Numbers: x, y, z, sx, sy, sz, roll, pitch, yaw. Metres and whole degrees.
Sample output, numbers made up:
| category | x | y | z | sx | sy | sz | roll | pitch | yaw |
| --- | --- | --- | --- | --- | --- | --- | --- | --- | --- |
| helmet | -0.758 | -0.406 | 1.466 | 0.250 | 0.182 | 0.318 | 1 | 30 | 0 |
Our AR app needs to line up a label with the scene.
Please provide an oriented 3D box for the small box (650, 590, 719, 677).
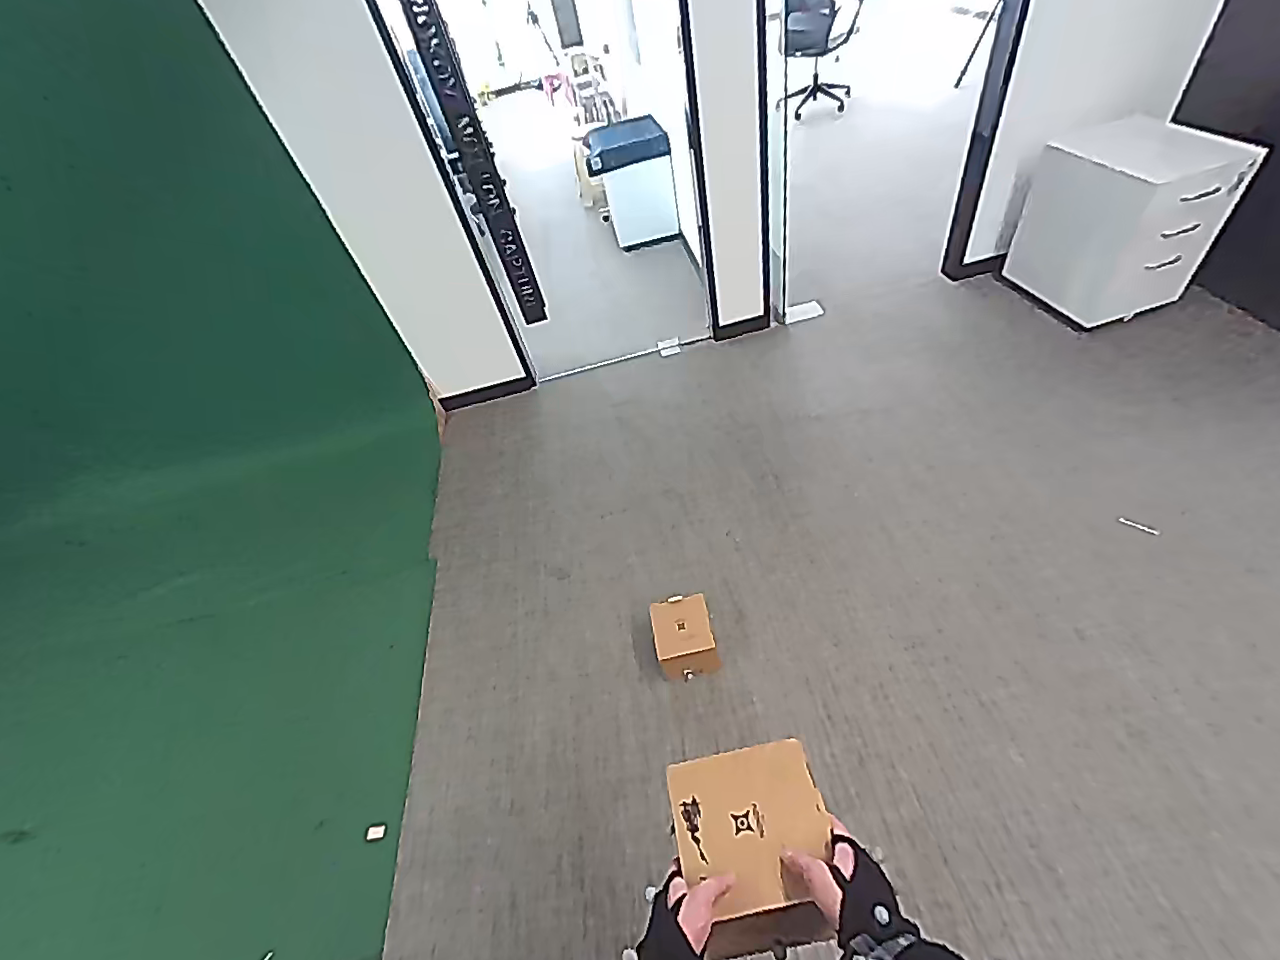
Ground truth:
| category | x | y | z | sx | sy | sz | roll | pitch | yaw |
| --- | --- | --- | --- | --- | --- | --- | --- | --- | --- |
| small box | 0.131 | 0.453 | 1.588 | 0.168 | 0.176 | 0.179 | -13 | 47 | 6 |

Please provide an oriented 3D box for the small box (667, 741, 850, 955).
| category | x | y | z | sx | sy | sz | roll | pitch | yaw |
| --- | --- | --- | --- | --- | --- | --- | --- | --- | --- |
| small box | 0.137 | 0.455 | 0.671 | 0.179 | 0.176 | 0.168 | -11 | 37 | 1 |
